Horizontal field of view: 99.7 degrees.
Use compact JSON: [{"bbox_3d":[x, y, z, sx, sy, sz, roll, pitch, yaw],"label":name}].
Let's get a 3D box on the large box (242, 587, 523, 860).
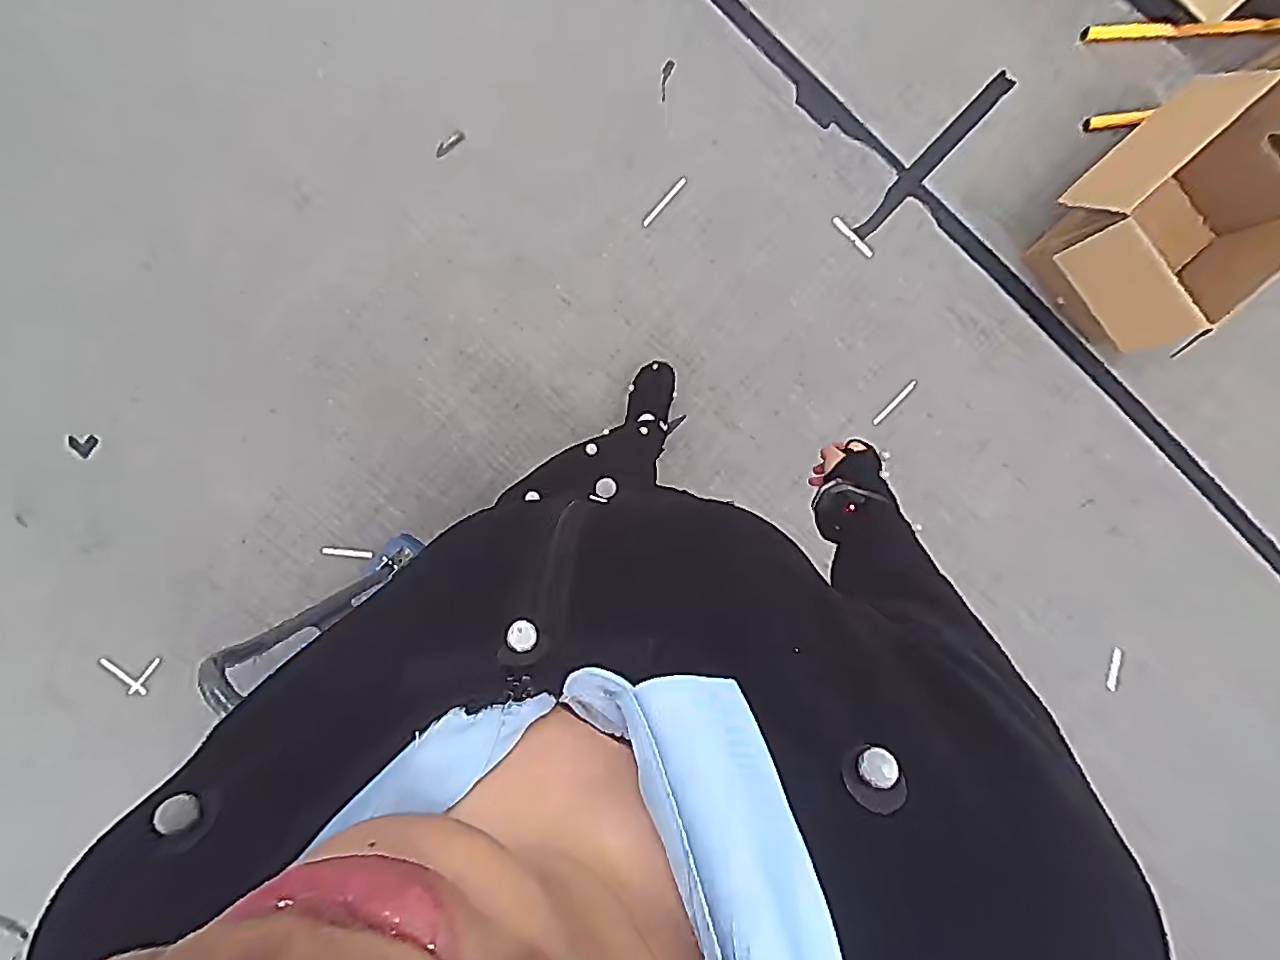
[{"bbox_3d":[-0.537,0.516,1.214,0.408,0.320,0.320,41,94,-4],"label":"large box"}]
